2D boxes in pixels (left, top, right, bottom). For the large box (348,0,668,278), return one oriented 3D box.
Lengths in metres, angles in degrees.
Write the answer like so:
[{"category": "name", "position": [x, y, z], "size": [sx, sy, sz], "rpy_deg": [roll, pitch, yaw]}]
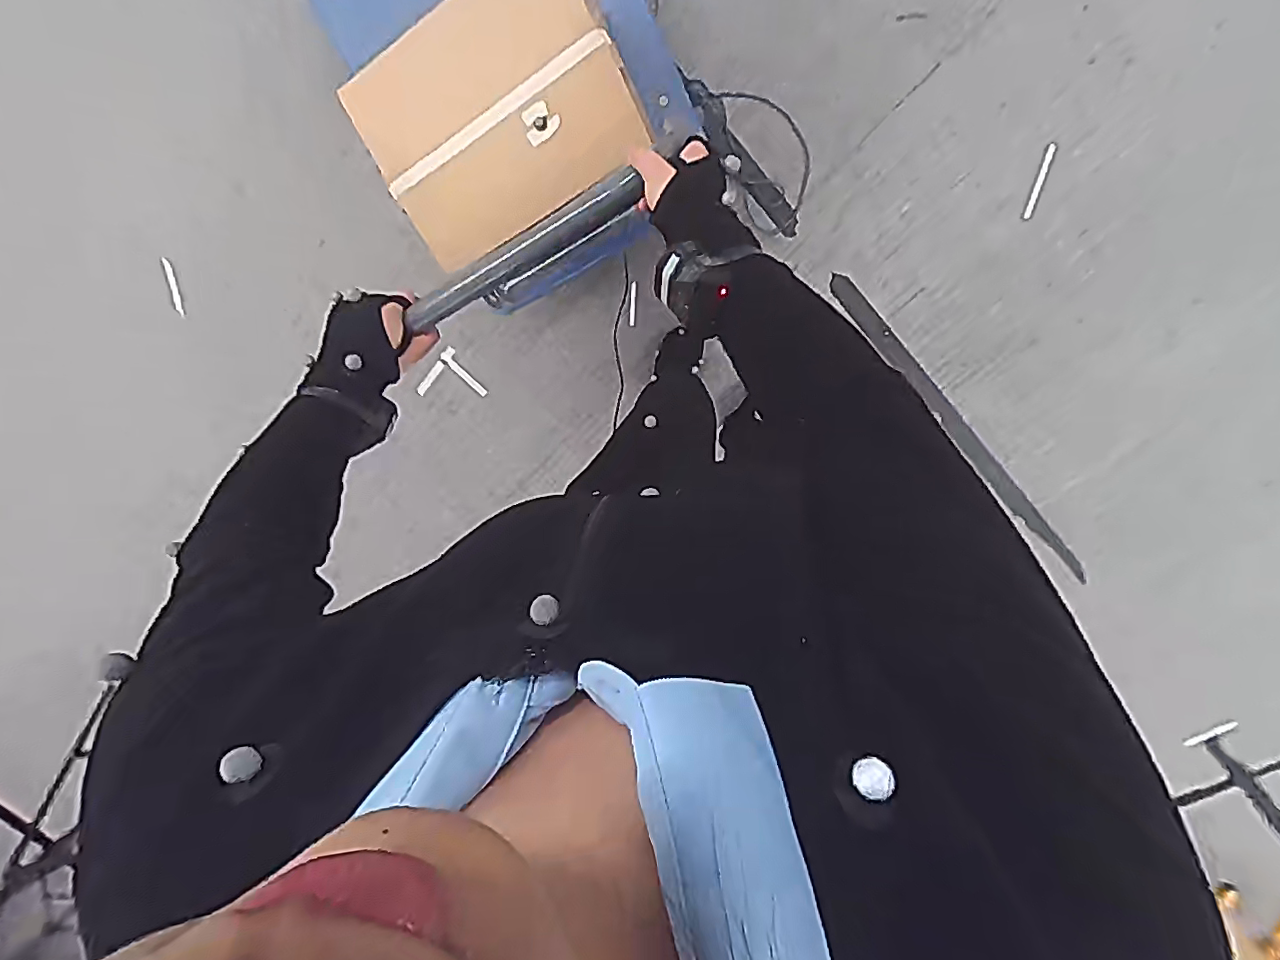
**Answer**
[{"category": "large box", "position": [-0.203, -0.606, 0.971], "size": [0.408, 0.320, 0.320], "rpy_deg": [-25, 107, 16]}]
